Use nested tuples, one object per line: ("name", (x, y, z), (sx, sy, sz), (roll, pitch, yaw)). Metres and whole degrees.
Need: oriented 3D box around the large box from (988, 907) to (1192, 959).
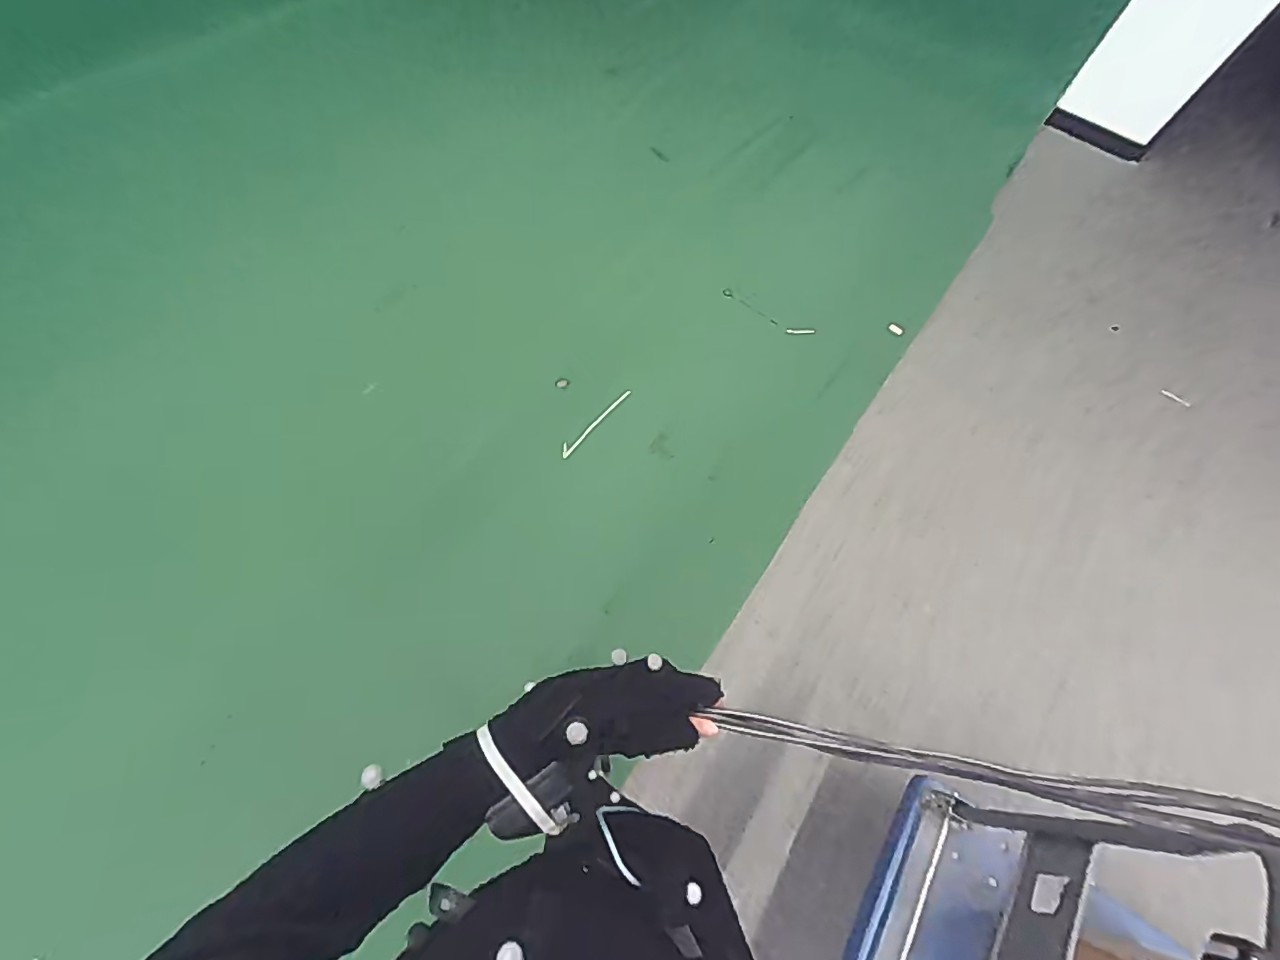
("large box", (0.800, 0.974, 0.837), (0.320, 0.320, 0.408), (14, 62, 1))
